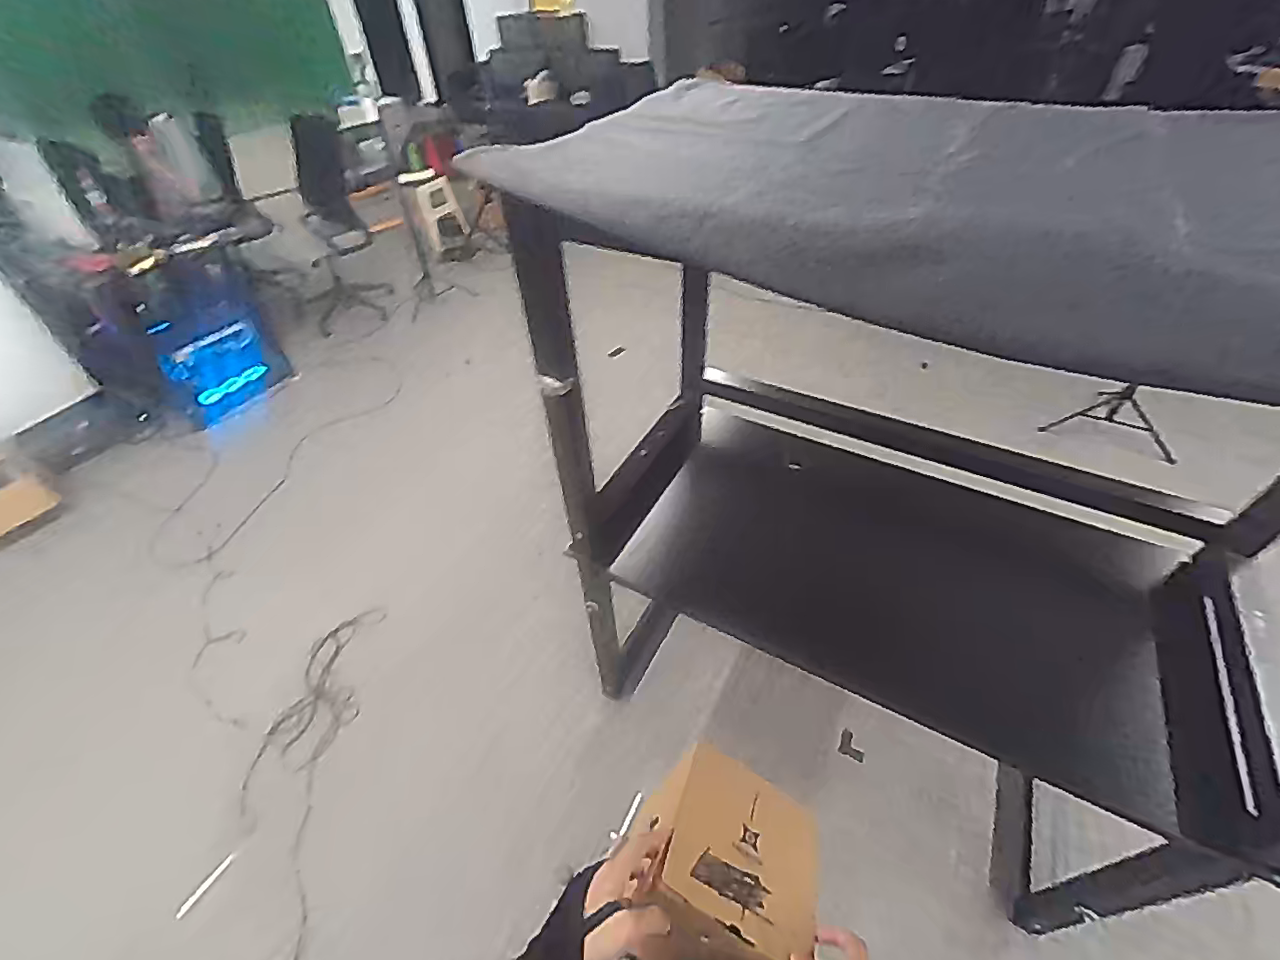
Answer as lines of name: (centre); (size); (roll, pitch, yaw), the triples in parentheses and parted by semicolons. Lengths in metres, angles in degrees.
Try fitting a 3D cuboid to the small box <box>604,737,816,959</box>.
small box: (0.077, 0.444, 0.609); (0.168, 0.176, 0.179); (31, 28, 5)
